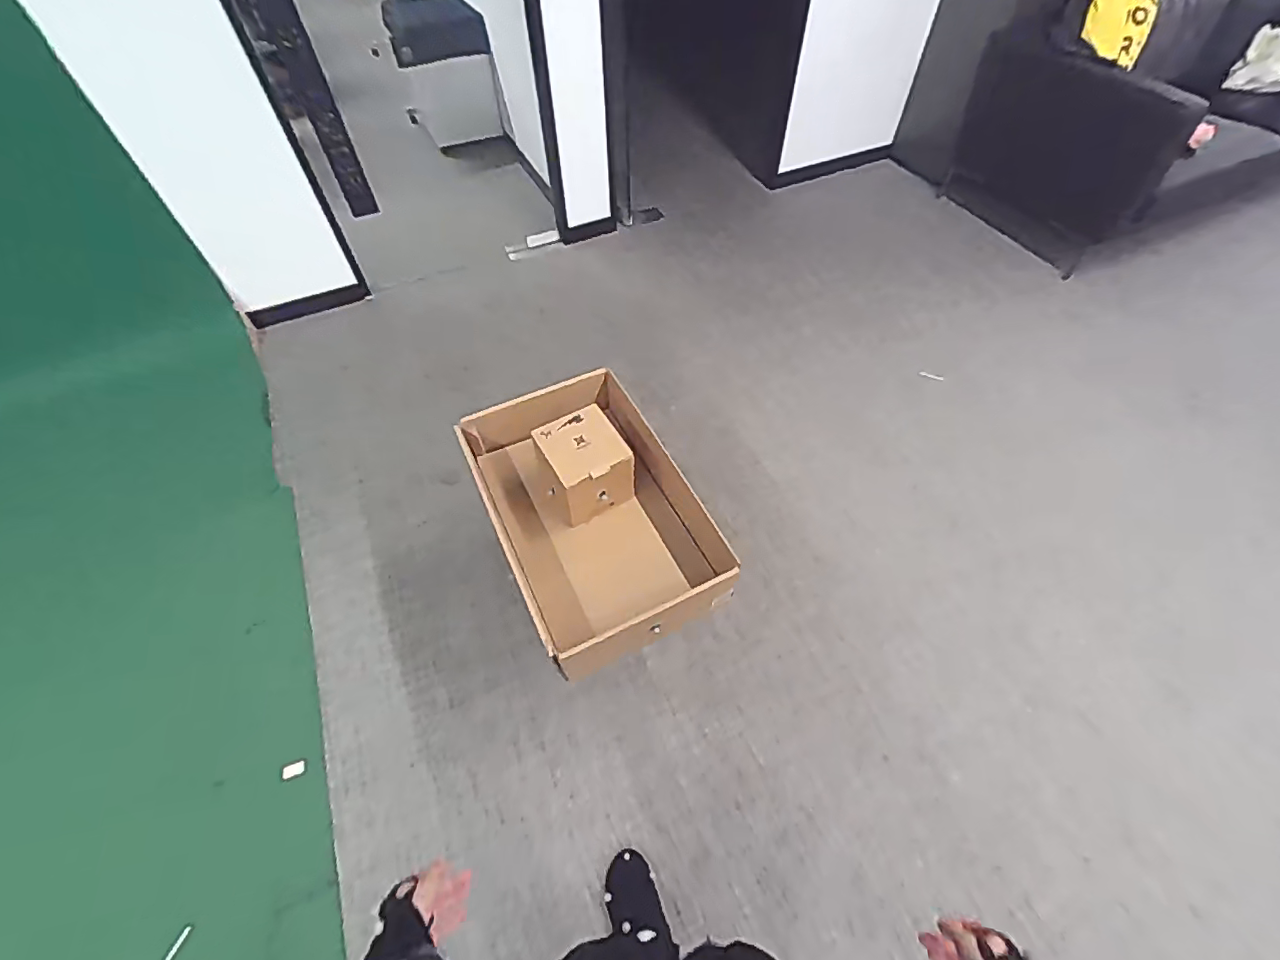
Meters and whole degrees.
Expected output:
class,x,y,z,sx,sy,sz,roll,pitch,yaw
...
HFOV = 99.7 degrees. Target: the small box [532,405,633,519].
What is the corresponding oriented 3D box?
class,x,y,z,sx,sy,sz,roll,pitch,yaw
small box,-0.126,-0.033,1.228,0.168,0.176,0.179,-25,61,-17
